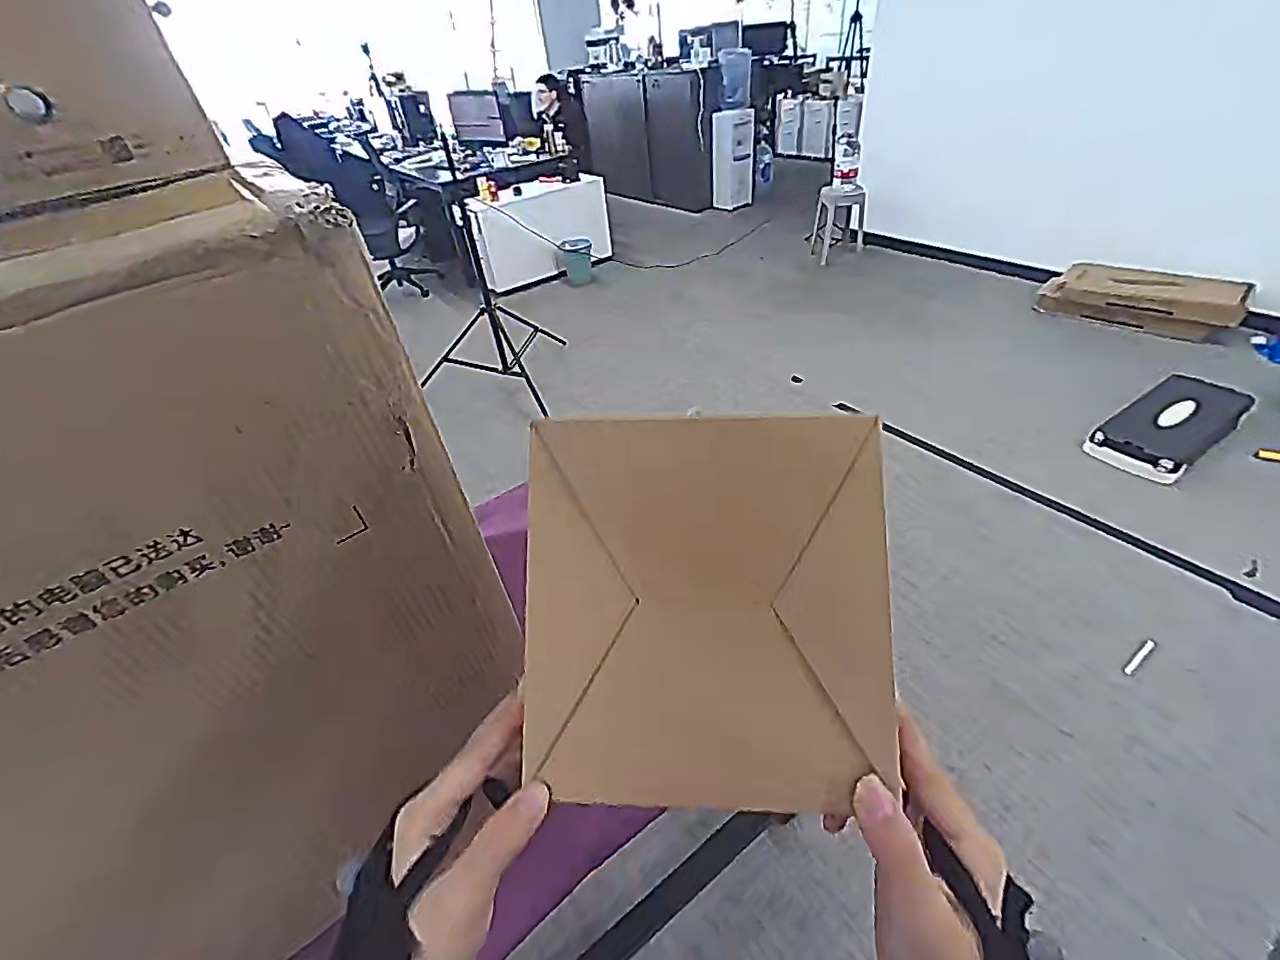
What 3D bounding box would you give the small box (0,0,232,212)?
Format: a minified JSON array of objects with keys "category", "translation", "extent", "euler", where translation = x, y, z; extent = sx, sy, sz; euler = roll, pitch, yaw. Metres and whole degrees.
[{"category":"small box","translation":[-0.425,-0.299,0.376],"extent":[0.168,0.176,0.179],"euler":[-29,45,-23]}]
